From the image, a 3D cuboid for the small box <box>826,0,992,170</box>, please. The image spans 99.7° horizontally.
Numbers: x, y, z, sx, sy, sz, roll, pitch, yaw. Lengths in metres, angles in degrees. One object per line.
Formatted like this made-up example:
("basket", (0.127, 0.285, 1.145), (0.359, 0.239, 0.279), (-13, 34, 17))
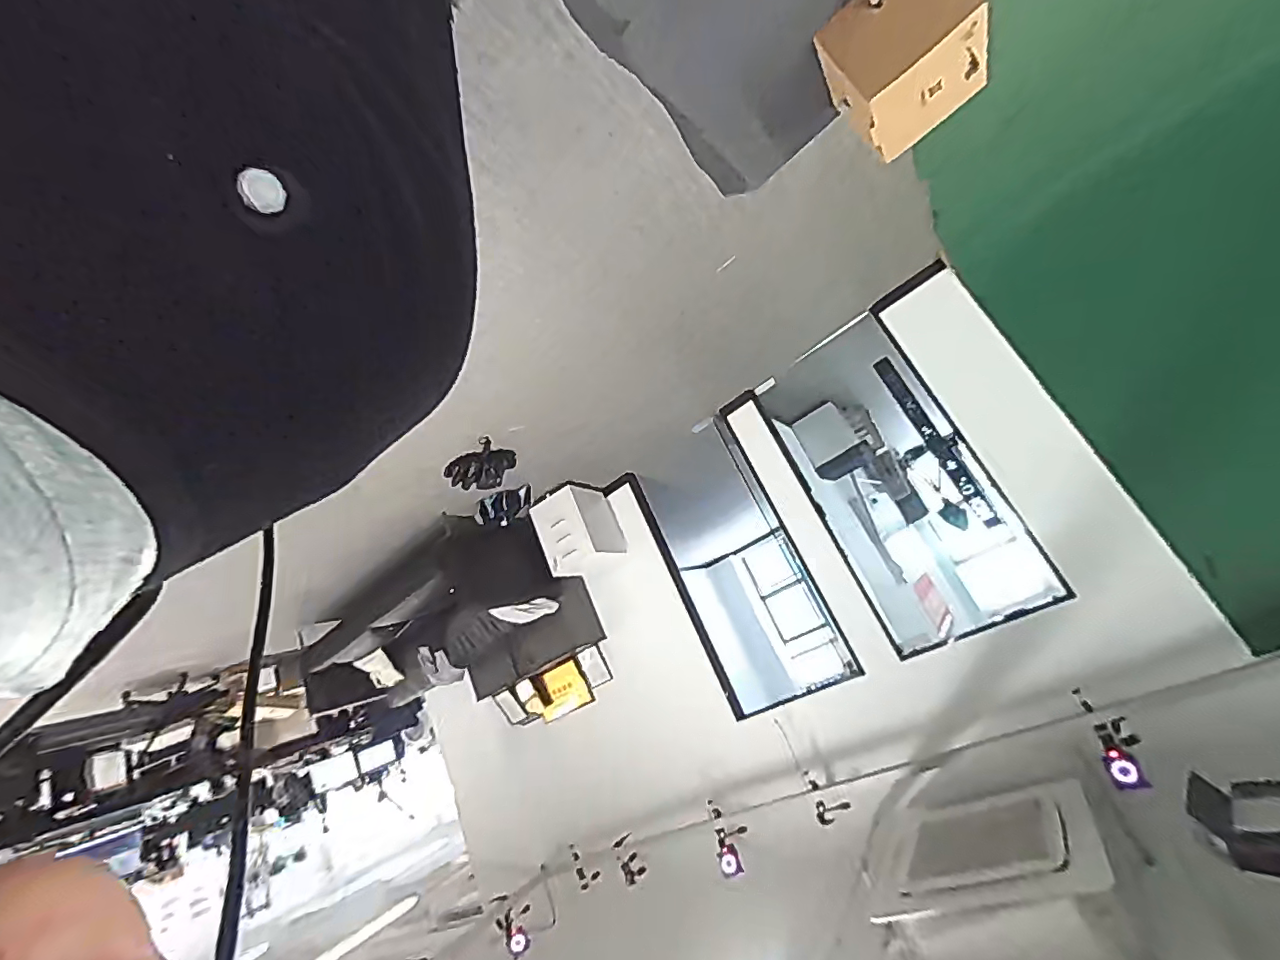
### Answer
("small box", (0.416, -0.650, 0.852), (0.179, 0.176, 0.168), (-35, 158, 25))
